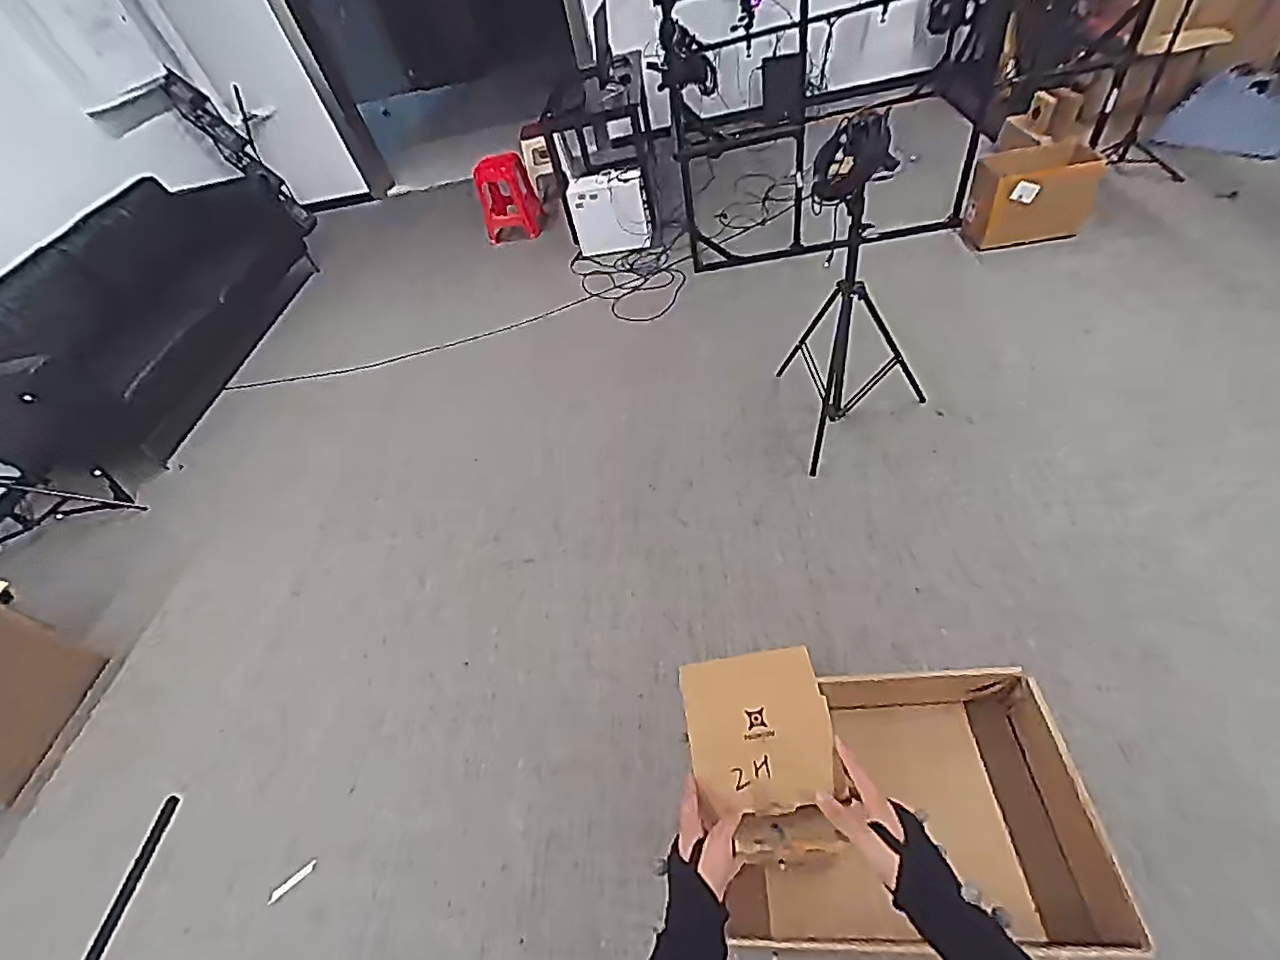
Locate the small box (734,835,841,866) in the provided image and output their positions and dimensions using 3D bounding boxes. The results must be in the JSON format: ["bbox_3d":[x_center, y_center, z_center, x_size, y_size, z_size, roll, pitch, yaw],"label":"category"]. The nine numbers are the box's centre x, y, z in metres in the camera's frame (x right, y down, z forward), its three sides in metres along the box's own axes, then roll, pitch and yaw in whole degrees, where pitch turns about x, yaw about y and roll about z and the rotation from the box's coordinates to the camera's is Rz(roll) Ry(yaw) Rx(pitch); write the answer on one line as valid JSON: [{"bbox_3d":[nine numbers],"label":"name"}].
[{"bbox_3d":[0.246,0.569,0.959,0.168,0.176,0.179,-8,49,9],"label":"small box"}]

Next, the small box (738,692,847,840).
[{"bbox_3d":[0.216,0.453,0.846,0.168,0.176,0.179,-7,48,9],"label":"small box"}]

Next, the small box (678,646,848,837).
[{"bbox_3d":[0.147,0.336,0.690,0.168,0.176,0.179,-11,51,5],"label":"small box"}]
